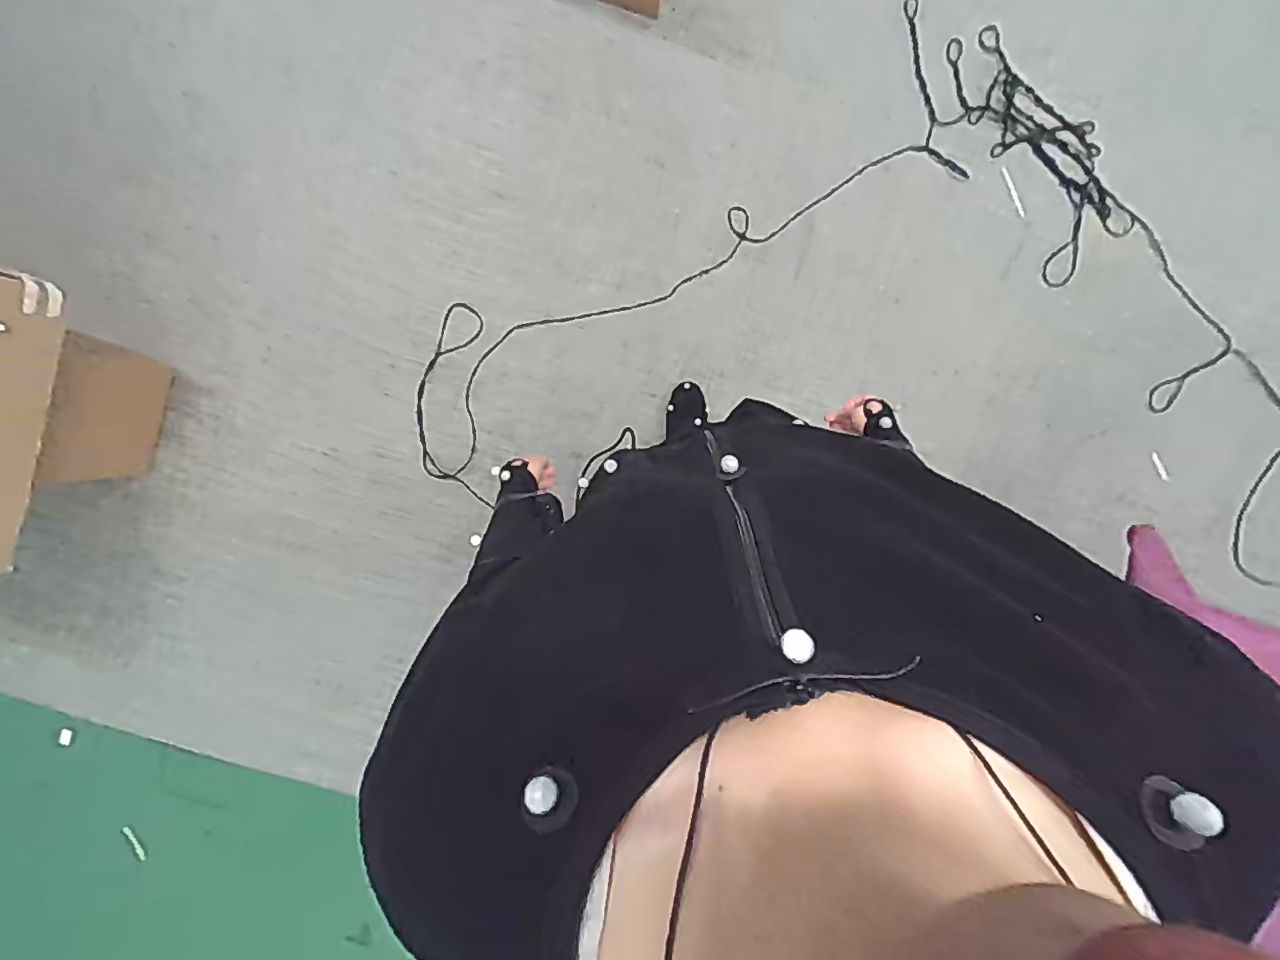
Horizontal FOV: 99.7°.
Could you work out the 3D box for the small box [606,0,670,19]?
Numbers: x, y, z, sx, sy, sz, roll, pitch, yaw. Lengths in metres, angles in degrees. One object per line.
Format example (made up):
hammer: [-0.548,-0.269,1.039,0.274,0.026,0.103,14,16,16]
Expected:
small box: [0.002,-1.249,1.276,0.179,0.176,0.168,17,96,-3]
